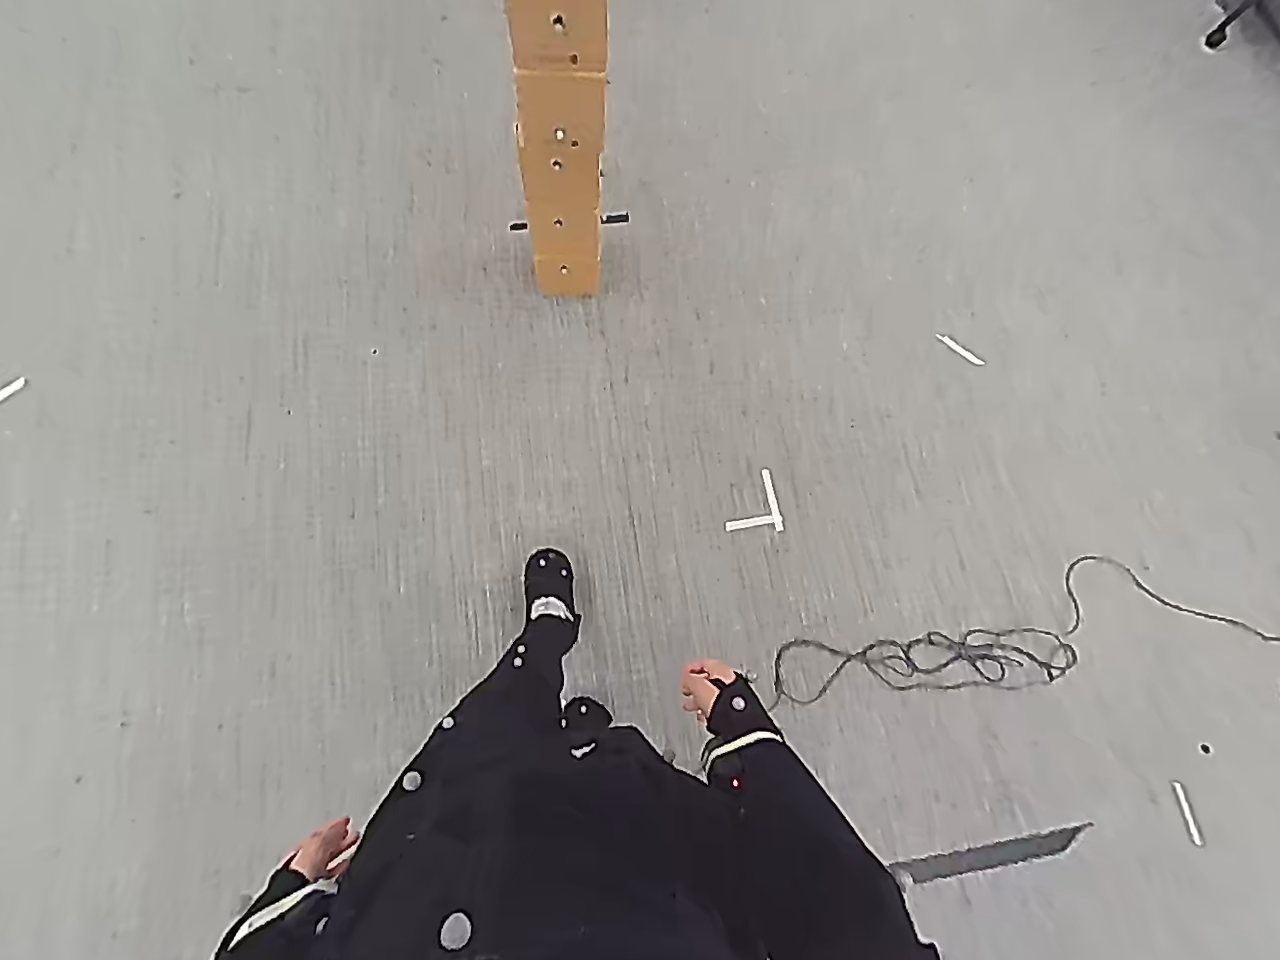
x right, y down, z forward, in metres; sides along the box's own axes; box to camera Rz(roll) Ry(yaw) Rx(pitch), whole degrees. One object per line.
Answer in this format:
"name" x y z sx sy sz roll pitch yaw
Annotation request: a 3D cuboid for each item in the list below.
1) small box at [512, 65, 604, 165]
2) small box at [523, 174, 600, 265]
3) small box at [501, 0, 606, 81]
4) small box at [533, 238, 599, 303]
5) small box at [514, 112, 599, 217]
"small box" -0.155 -0.763 1.068 0.168 0.176 0.179 0 76 -4
"small box" -0.194 -0.671 1.378 0.179 0.176 0.168 3 75 -4
"small box" -0.142 -0.815 0.913 0.168 0.176 0.179 -2 76 -5
"small box" -0.207 -0.619 1.534 0.179 0.176 0.168 0 75 -5
"small box" -0.182 -0.722 1.225 0.179 0.176 0.168 0 76 -5
